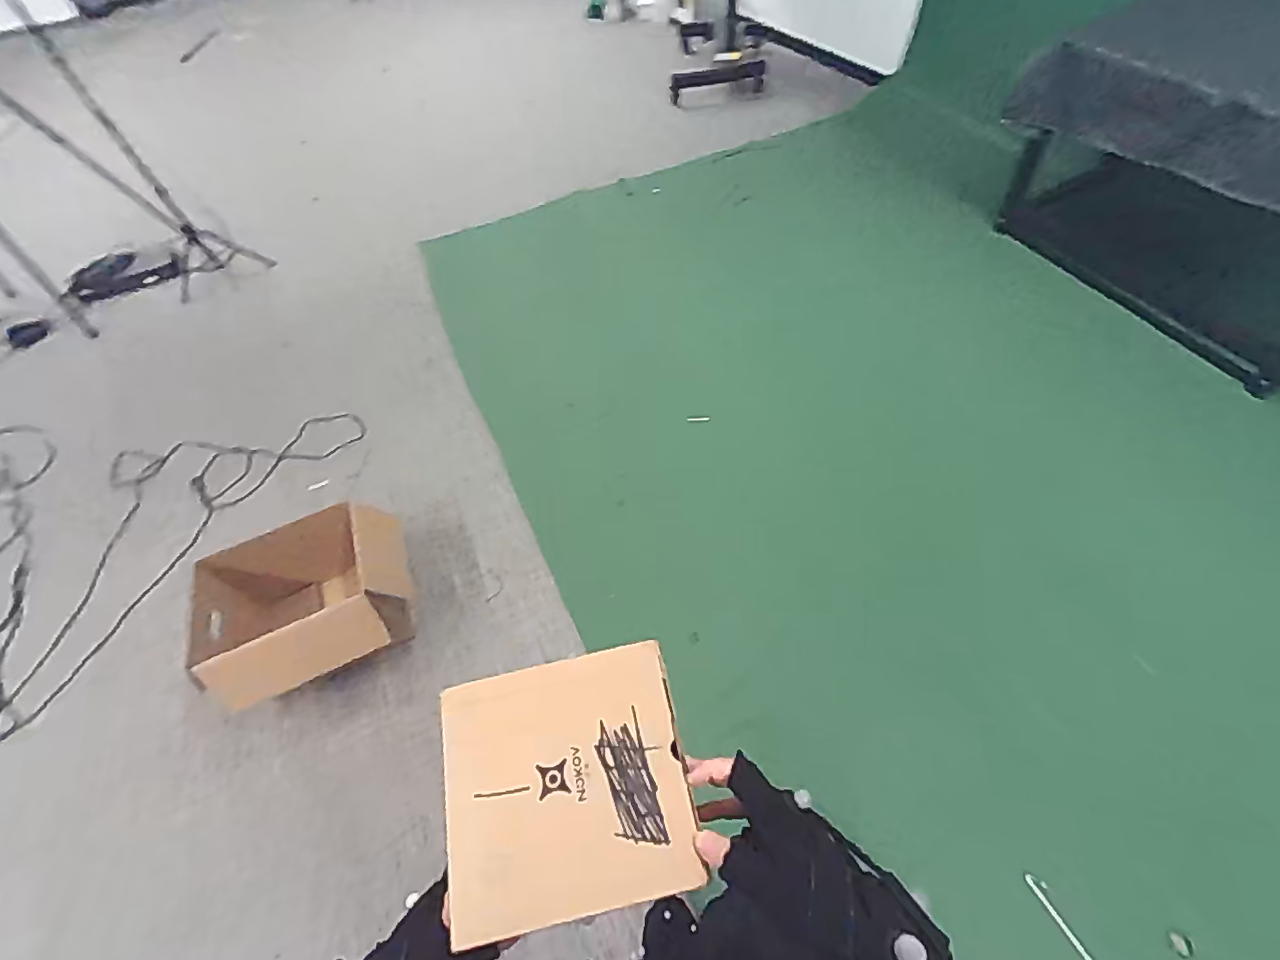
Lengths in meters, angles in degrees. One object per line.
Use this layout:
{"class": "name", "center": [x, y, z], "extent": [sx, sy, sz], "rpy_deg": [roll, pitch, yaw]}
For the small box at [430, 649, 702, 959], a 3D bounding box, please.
{"class": "small box", "center": [-0.058, 0.256, 0.455], "extent": [0.179, 0.176, 0.168], "rpy_deg": [-12, 61, -4]}
